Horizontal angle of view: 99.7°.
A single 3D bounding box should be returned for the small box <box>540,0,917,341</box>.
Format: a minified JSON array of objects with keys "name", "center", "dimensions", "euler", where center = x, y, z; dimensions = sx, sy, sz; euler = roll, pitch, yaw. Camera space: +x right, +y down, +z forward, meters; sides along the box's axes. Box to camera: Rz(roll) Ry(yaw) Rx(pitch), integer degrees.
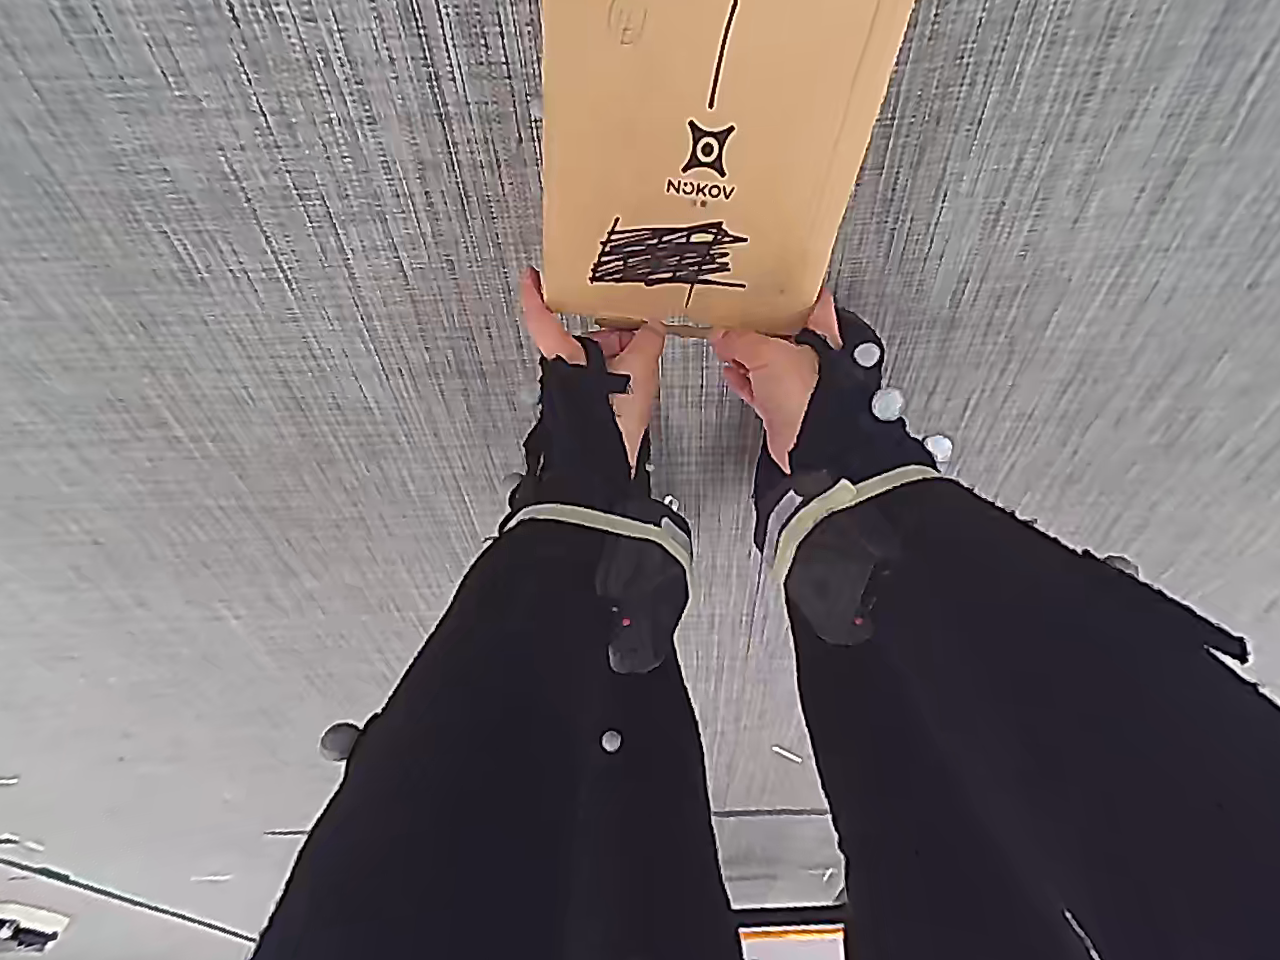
[{"name":"small box","center":[0.030,-0.211,0.339],"dimensions":[0.168,0.176,0.179],"euler":[4,130,-5]}]
